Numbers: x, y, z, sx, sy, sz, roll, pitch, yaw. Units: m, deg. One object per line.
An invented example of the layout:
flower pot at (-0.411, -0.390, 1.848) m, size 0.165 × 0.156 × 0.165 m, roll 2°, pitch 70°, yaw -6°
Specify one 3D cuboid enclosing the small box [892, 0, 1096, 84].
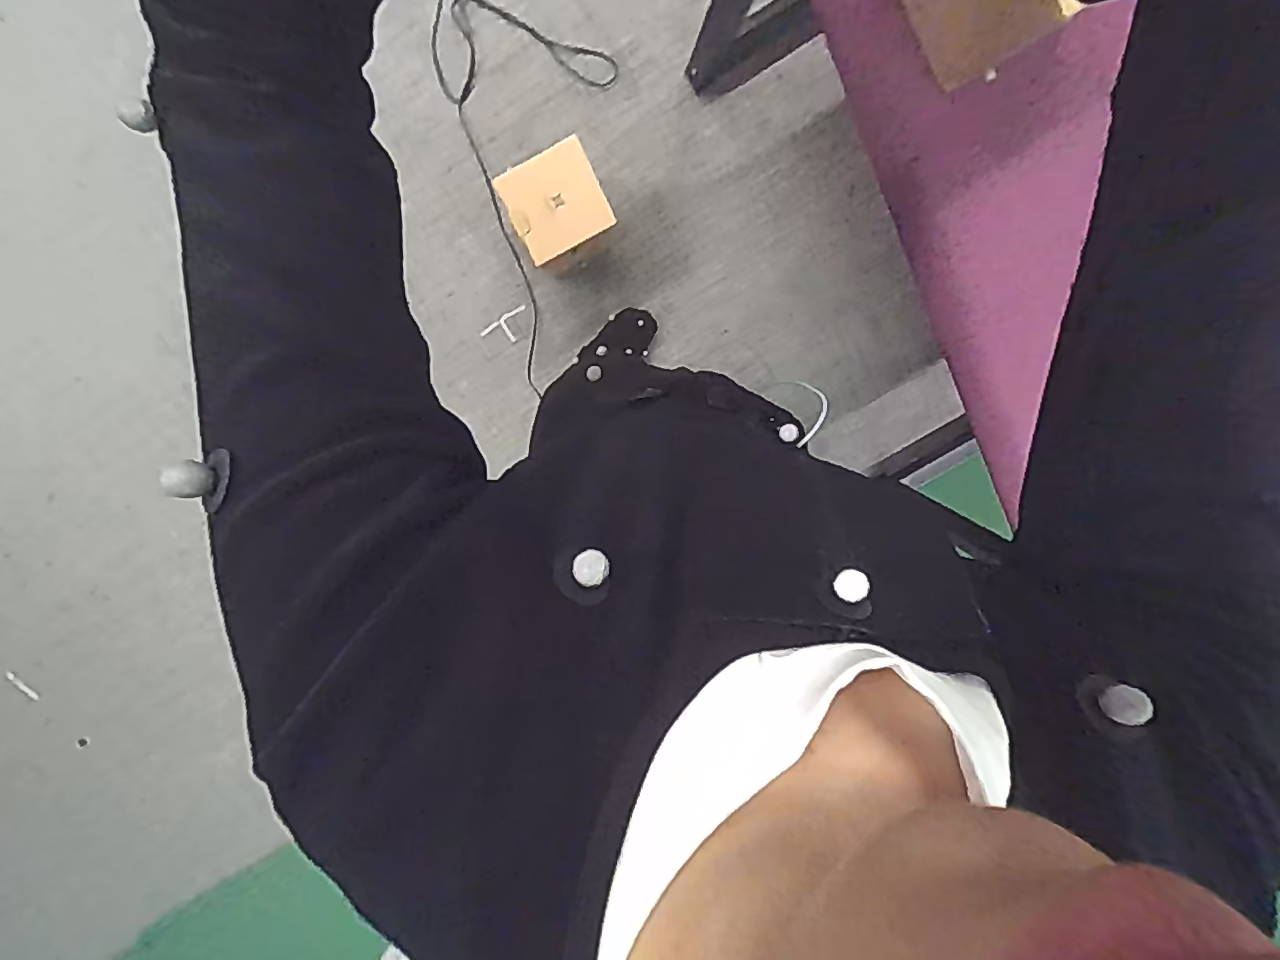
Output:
small box at (0.371, -0.534, 0.529) m, size 0.168 × 0.176 × 0.179 m, roll -36°, pitch 106°, yaw 5°
